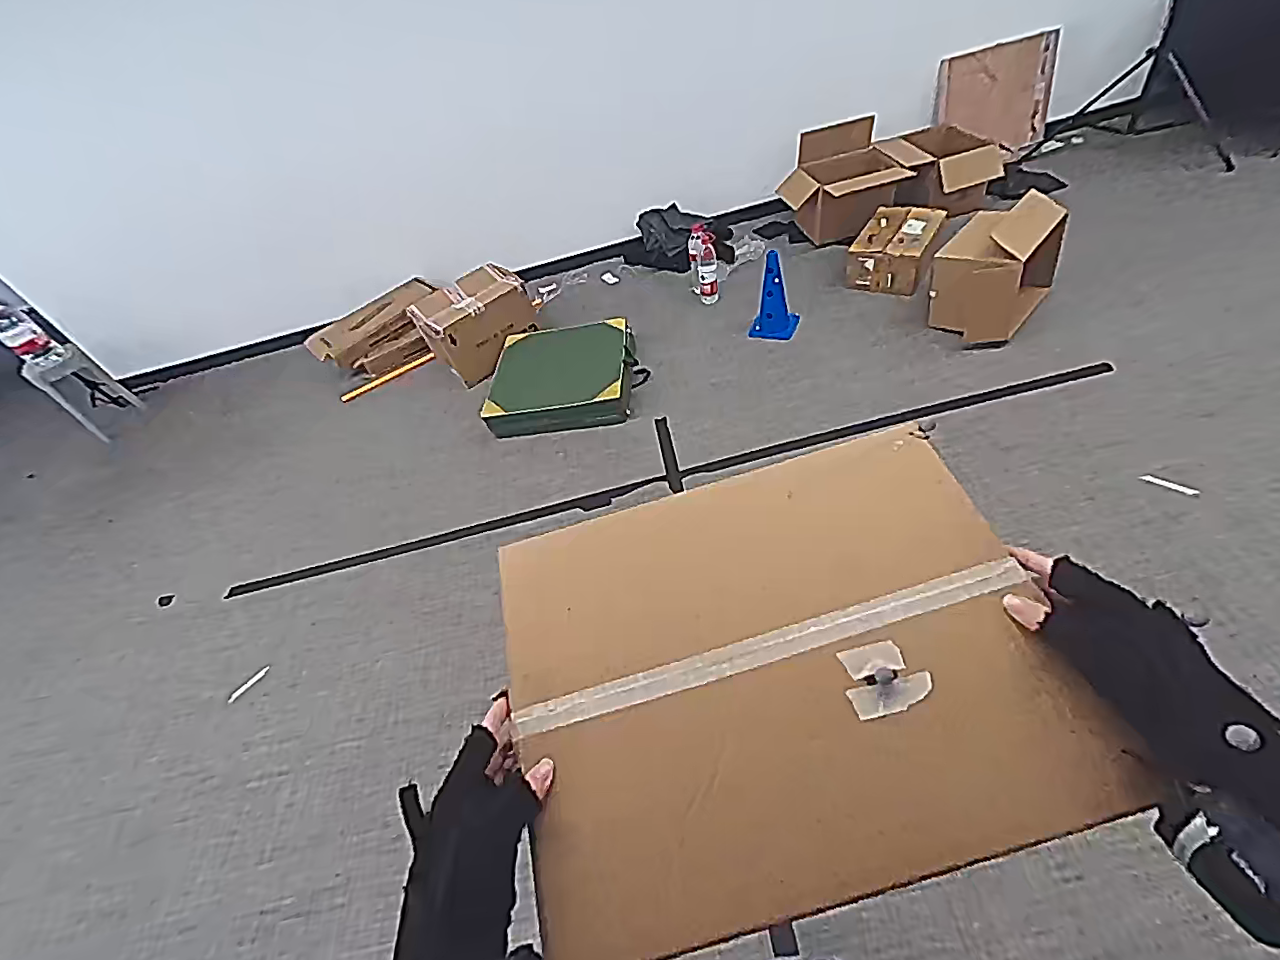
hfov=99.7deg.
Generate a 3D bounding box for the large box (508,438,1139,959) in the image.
[{"bbox_3d":[0.123,0.219,0.553,0.408,0.320,0.320,-17,56,-1],"label":"large box"}]
